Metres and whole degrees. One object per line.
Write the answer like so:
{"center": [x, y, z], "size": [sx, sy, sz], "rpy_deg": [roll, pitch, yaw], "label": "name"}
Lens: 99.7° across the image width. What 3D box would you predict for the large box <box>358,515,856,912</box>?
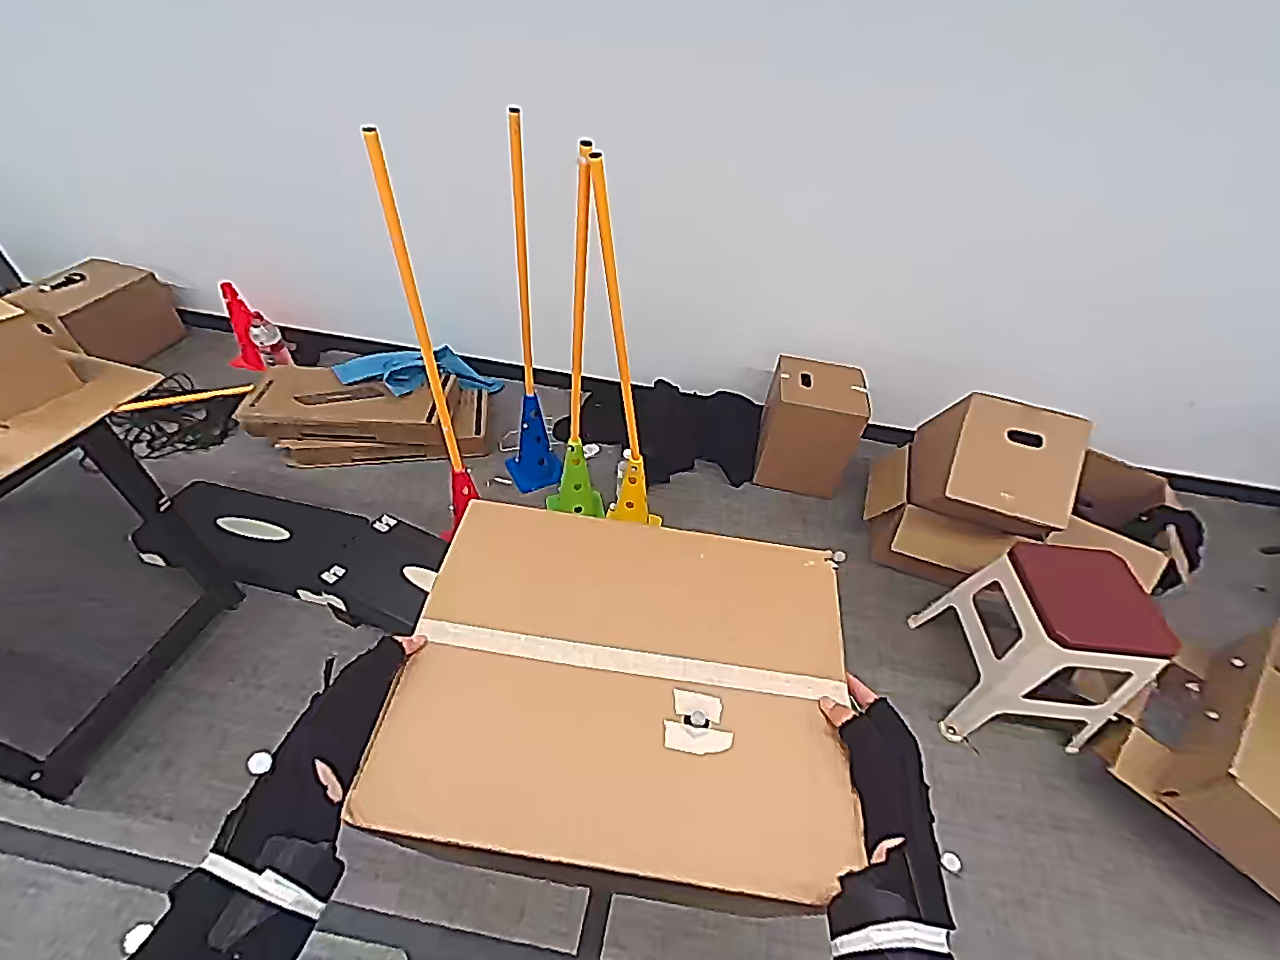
{"center": [-0.022, 0.275, 0.628], "size": [0.408, 0.320, 0.320], "rpy_deg": [9, 51, 2], "label": "large box"}
